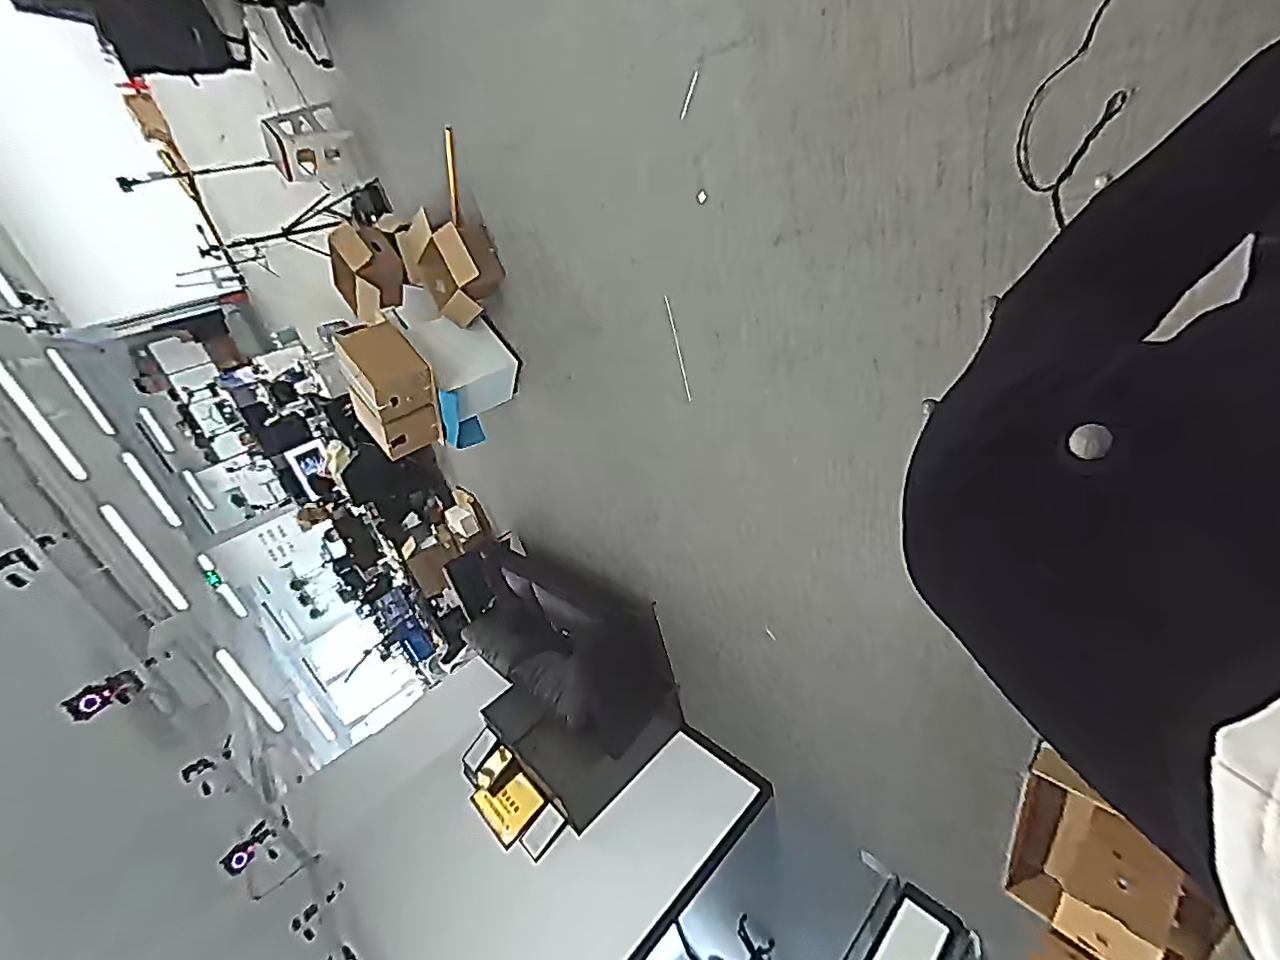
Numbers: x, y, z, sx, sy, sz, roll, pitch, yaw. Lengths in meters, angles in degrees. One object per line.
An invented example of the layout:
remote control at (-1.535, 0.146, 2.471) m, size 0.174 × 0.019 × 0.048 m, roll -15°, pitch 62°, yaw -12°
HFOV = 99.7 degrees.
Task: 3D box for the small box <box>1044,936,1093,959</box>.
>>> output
small box at (0.998, 1.199, 1.219) m, size 0.168 × 0.176 × 0.179 m, roll 16°, pitch 128°, yaw 49°

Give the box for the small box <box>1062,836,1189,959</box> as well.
small box at (1.071, 0.944, 1.195) m, size 0.168 × 0.176 × 0.179 m, roll 21°, pitch 133°, yaw 46°

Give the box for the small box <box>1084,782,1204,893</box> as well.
small box at (1.189, 0.868, 1.278) m, size 0.168 × 0.176 × 0.179 m, roll 20°, pitch 134°, yaw 45°
